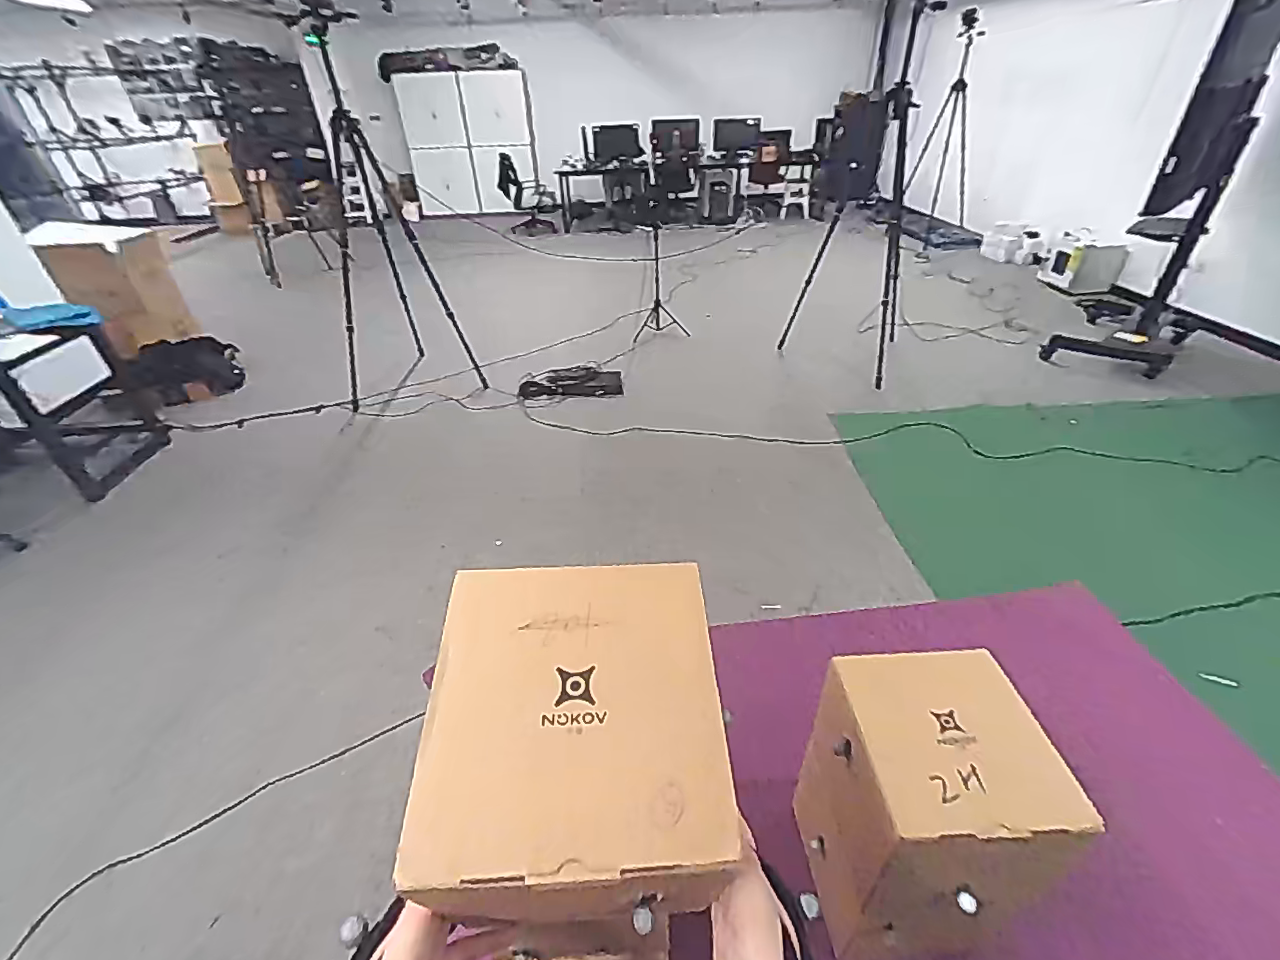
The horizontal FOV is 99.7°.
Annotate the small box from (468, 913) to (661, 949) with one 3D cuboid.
[{"bbox_3d":[-0.066,0.326,0.526,0.168,0.176,0.179,-2,35,-1],"label":"small box"}]

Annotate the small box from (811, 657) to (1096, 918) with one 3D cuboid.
[{"bbox_3d":[0.283,0.303,0.544,0.168,0.176,0.179,-2,35,0],"label":"small box"}]

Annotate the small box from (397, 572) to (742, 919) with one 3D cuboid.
[{"bbox_3d":[-0.036,0.180,0.364,0.168,0.176,0.179,1,47,-3],"label":"small box"}]
